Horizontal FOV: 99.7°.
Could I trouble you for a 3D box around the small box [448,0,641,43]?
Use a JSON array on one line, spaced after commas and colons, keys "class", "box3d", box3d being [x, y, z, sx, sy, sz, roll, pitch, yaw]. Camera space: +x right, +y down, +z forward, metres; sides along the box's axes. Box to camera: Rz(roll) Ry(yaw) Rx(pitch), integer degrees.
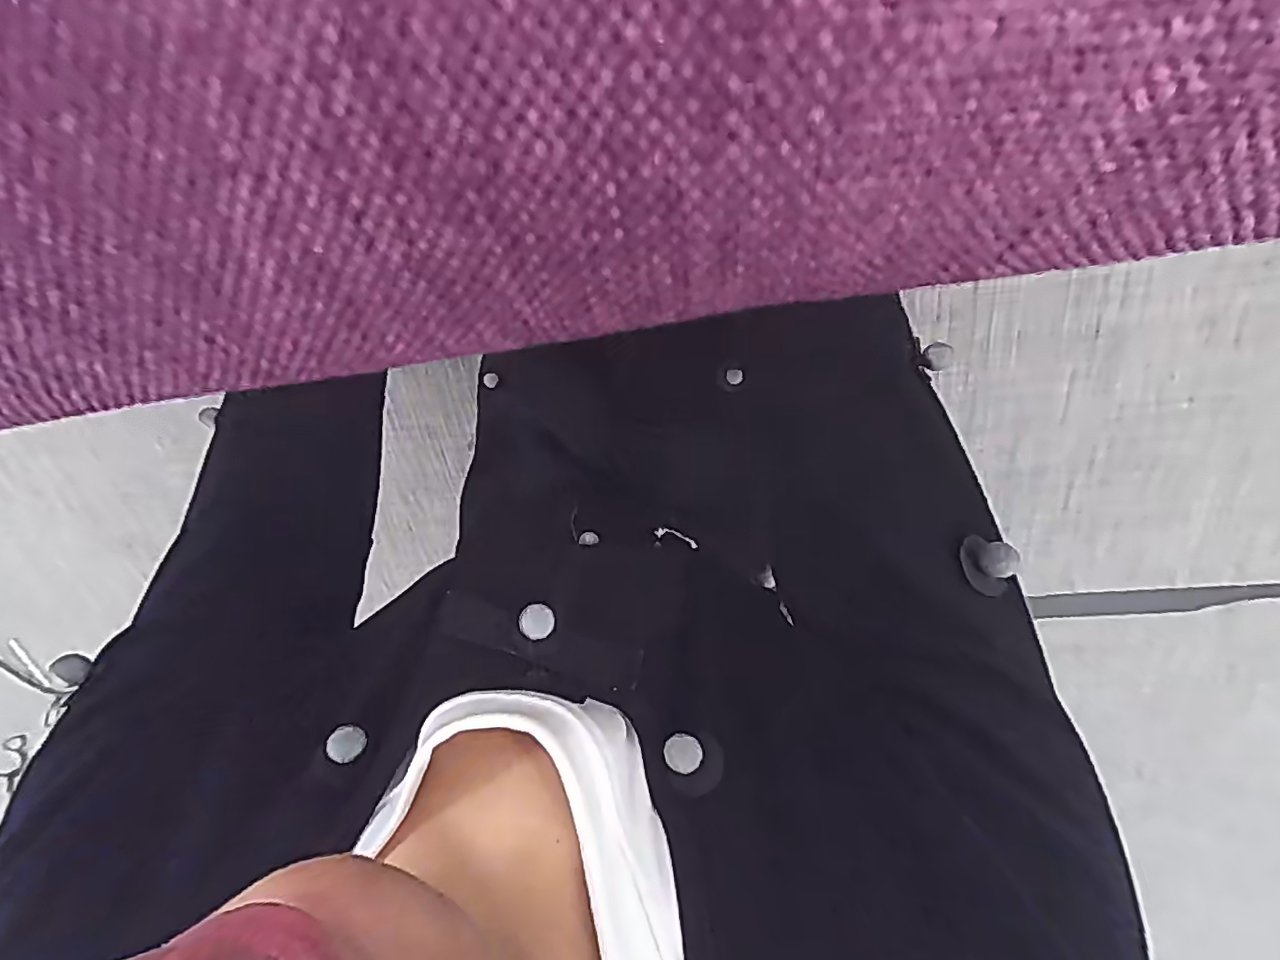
[{"class": "small box", "box3d": [-0.092, -0.466, 0.400, 0.168, 0.176, 0.179, -8, 118, 8]}]
